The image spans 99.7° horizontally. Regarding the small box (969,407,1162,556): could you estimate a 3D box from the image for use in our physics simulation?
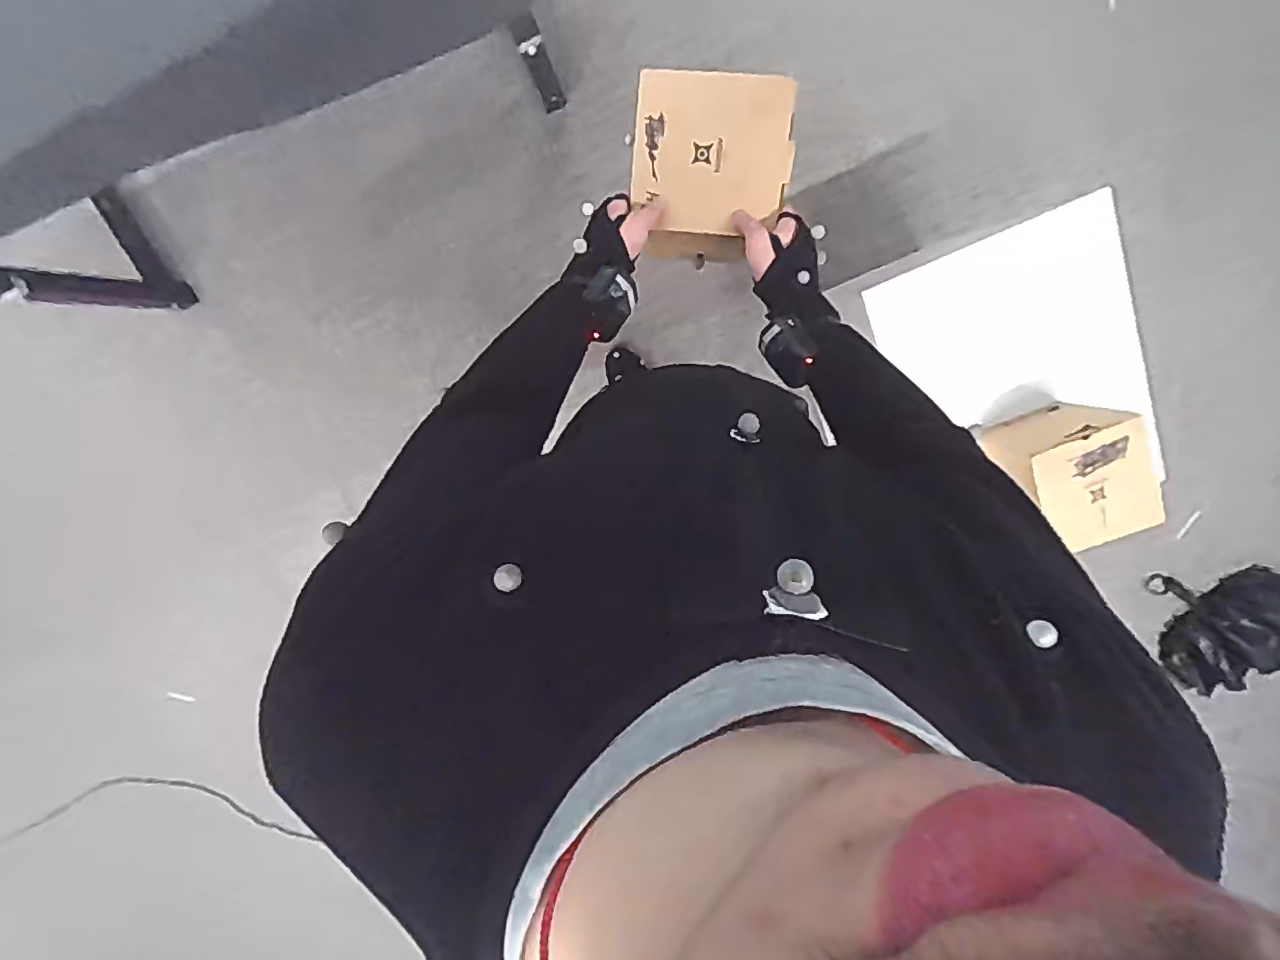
[{"bbox_3d":[0.668,-0.010,0.869,0.168,0.176,0.179,-22,104,4],"label":"small box"}]

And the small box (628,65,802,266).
[{"bbox_3d":[0.081,-0.369,0.667,0.179,0.176,0.168,5,101,1],"label":"small box"}]
